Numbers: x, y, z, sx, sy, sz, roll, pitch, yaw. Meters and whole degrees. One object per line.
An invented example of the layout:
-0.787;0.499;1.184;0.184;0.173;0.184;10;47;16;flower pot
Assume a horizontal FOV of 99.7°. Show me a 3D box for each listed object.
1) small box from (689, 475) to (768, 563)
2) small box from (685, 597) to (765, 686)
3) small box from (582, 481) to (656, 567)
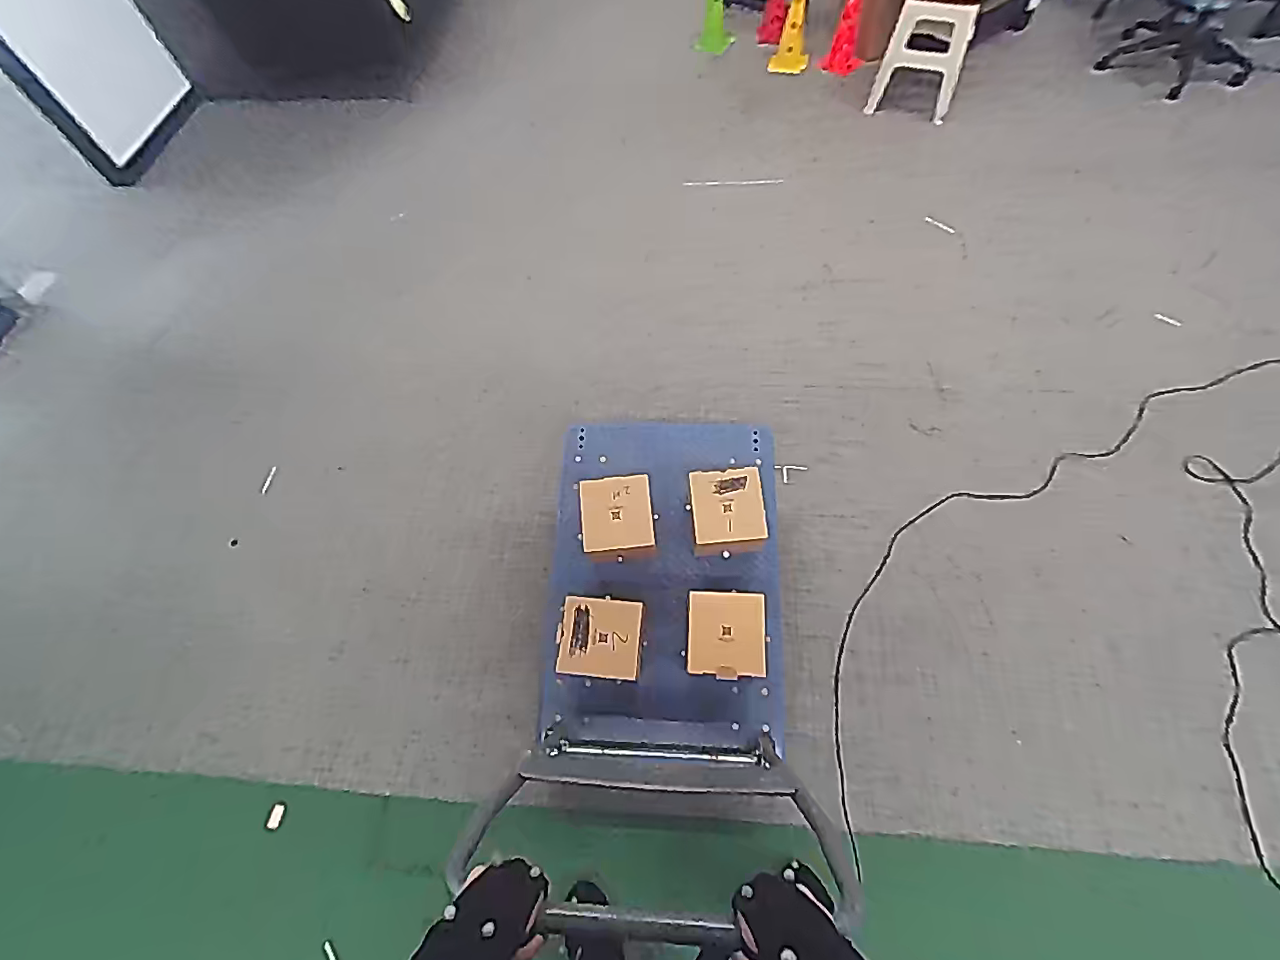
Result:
0.211;0.101;1.330;0.168;0.176;0.179;-5;72;2;small box
0.190;0.371;1.240;0.168;0.176;0.179;2;72;4;small box
-0.049;0.116;1.339;0.168;0.176;0.179;-5;71;1;small box
